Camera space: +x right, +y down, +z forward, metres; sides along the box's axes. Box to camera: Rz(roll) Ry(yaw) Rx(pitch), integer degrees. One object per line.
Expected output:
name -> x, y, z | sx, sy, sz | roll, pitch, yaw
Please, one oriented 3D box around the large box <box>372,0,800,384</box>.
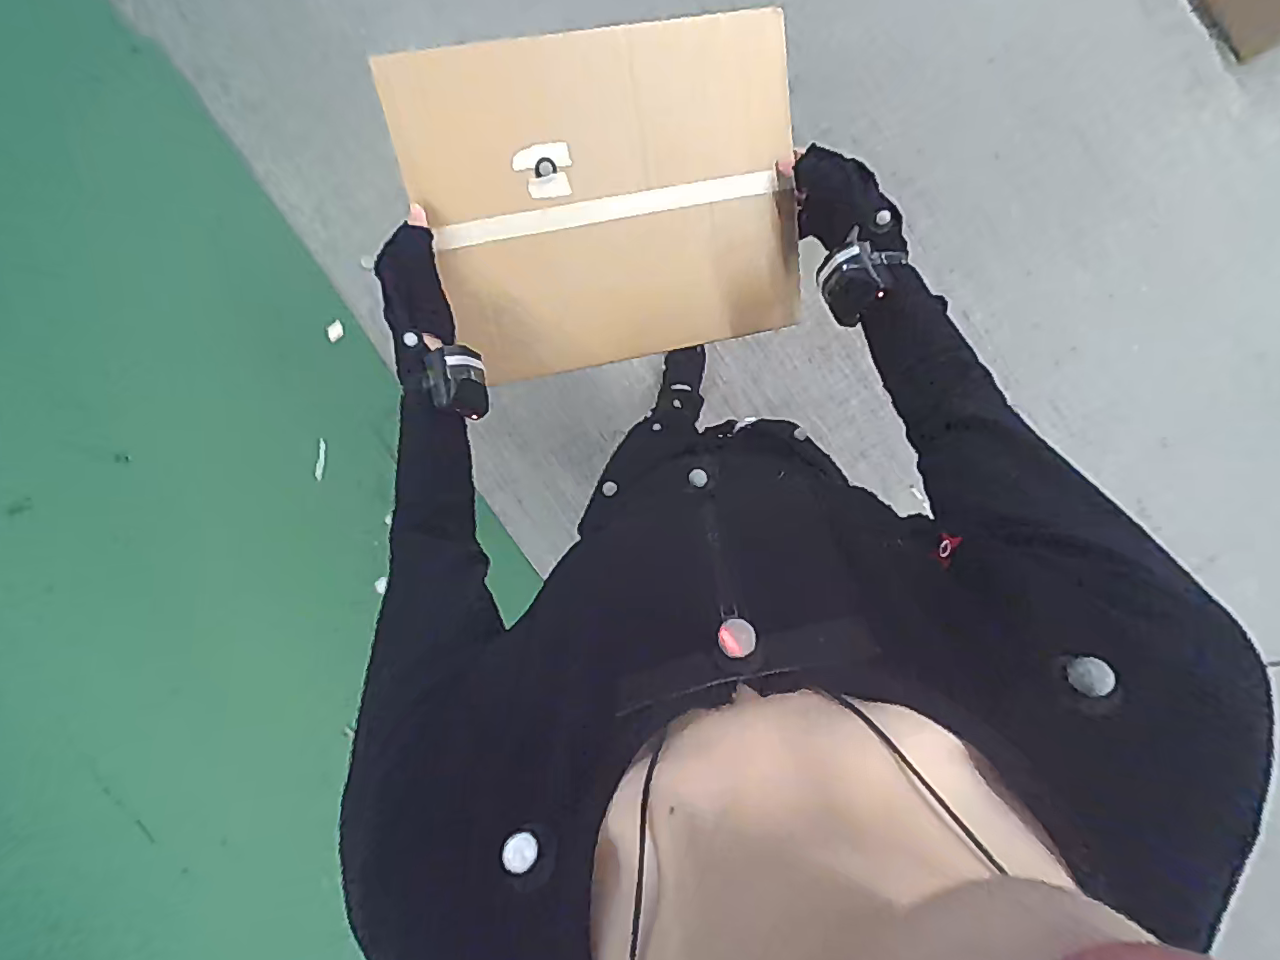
large box -> -0.053, -0.342, 0.700 | 0.408, 0.320, 0.320 | -13, 111, -6
